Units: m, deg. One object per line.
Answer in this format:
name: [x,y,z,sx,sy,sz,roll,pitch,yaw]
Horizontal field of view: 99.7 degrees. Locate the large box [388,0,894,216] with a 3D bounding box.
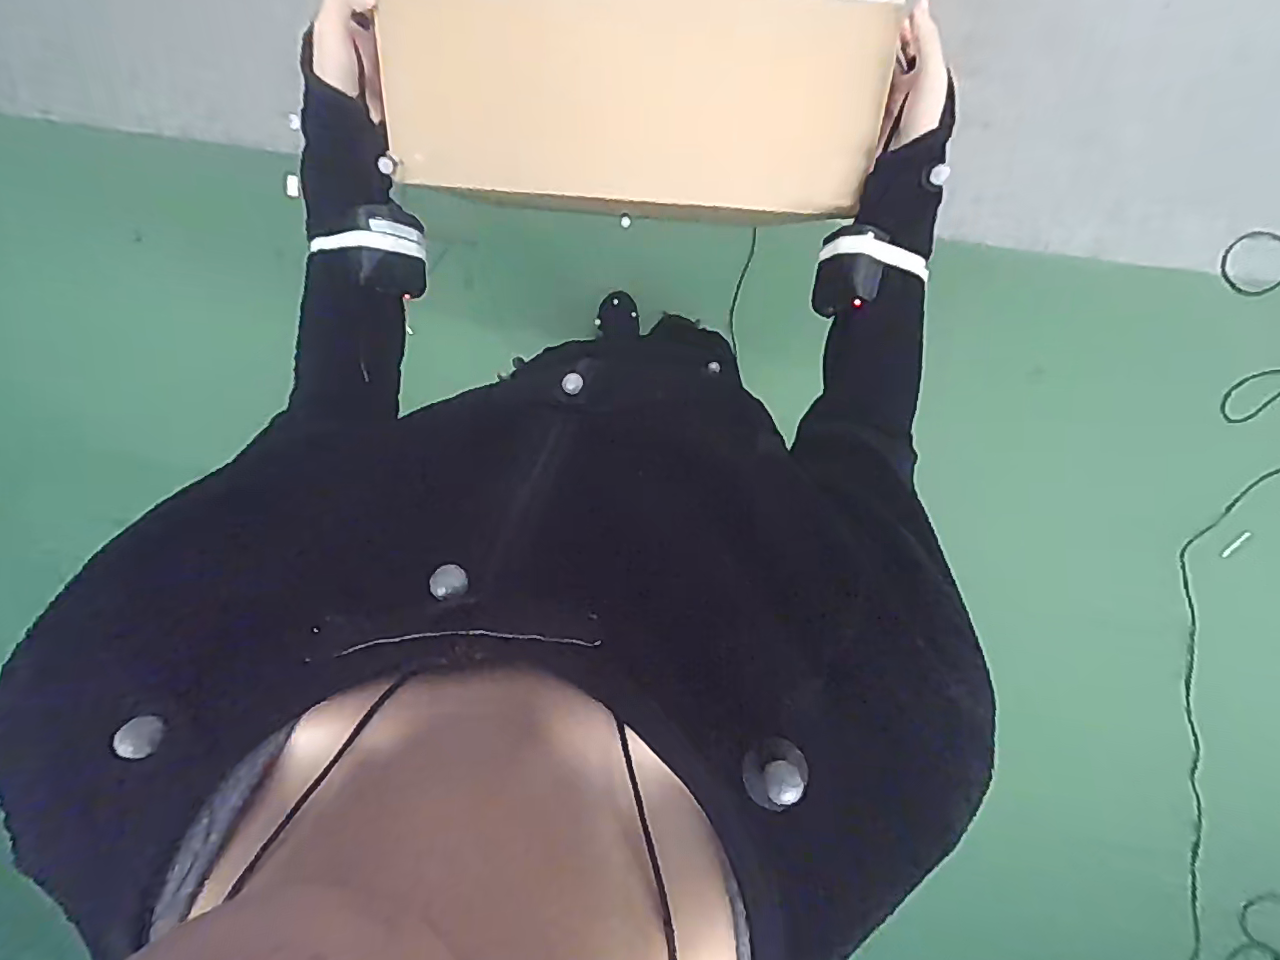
large box: [-0.002,-0.450,0.550,0.408,0.320,0.320,2,113,-5]
